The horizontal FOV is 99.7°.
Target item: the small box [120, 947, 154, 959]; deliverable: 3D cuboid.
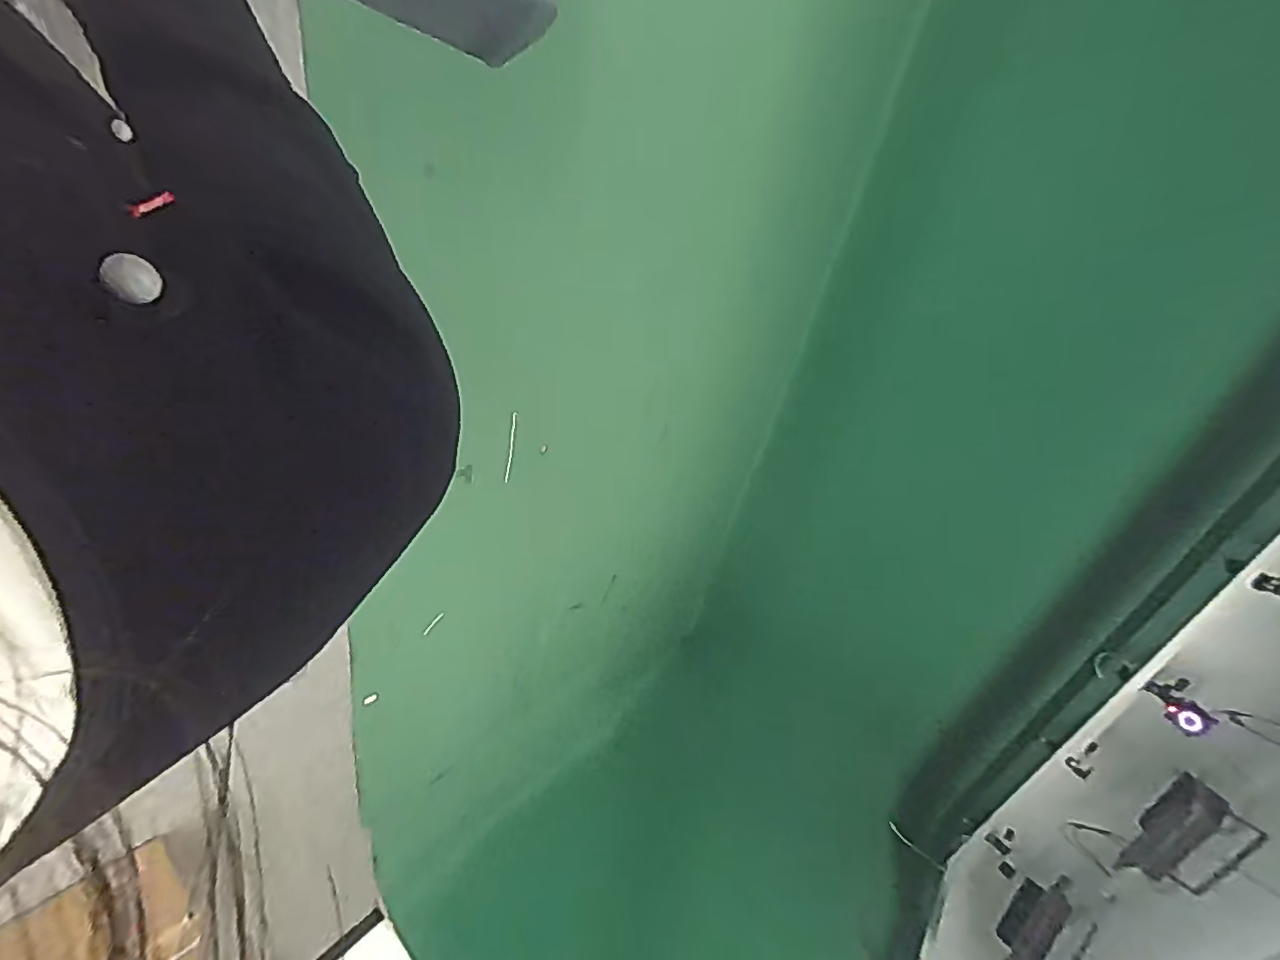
[{"bbox_3d":[-1.427,1.446,1.484,0.168,0.176,0.179,-27,139,-44],"label":"small box"}]
